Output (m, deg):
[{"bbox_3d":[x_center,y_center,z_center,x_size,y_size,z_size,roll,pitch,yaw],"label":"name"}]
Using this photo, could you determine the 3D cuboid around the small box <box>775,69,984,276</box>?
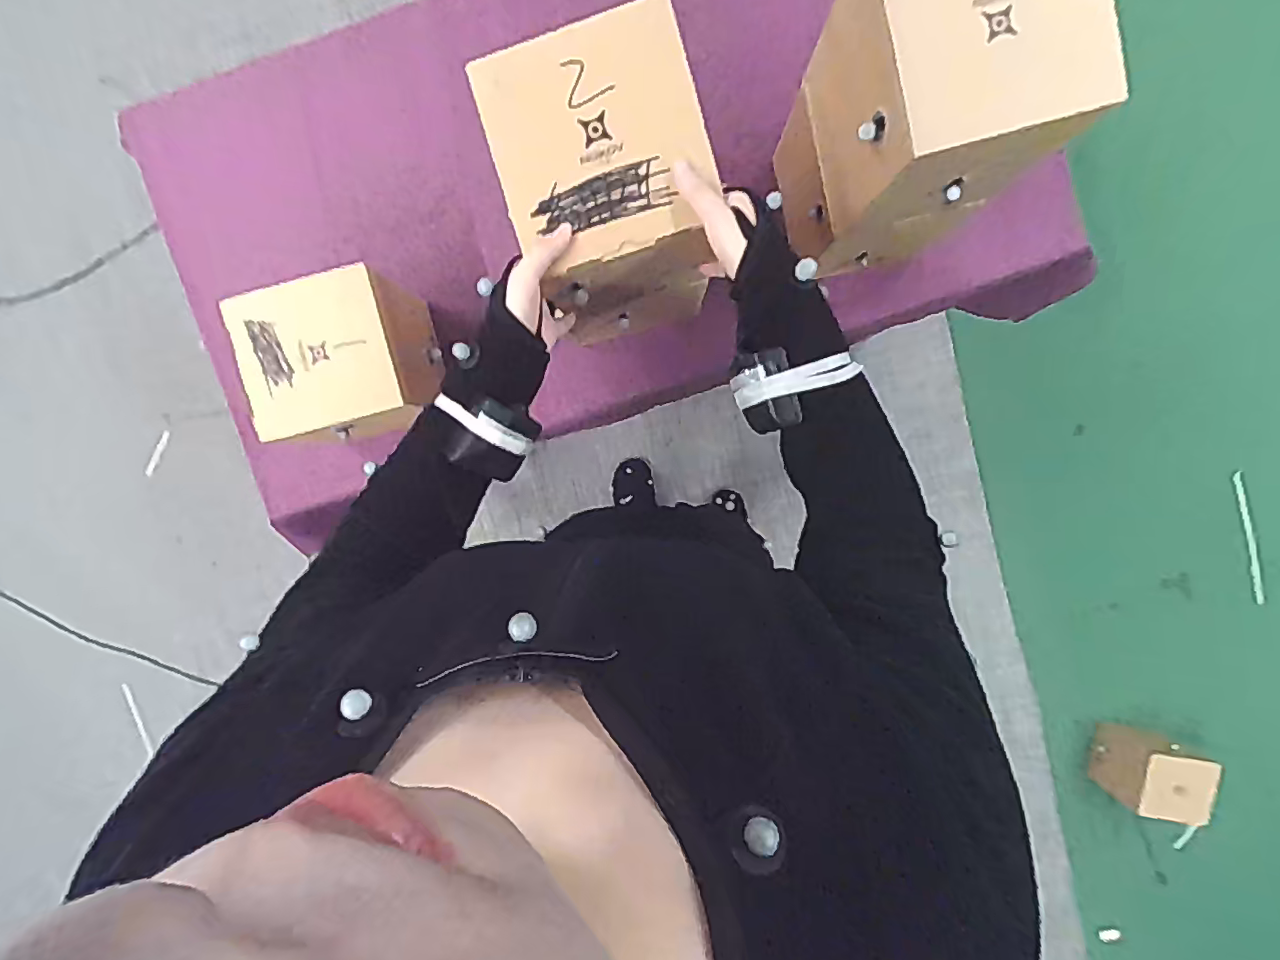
[{"bbox_3d":[0.274,-0.374,0.657,0.168,0.176,0.179,-12,94,2],"label":"small box"}]

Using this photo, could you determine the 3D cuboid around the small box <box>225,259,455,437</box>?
[{"bbox_3d":[-0.365,-0.153,0.689,0.179,0.176,0.168,-14,93,2],"label":"small box"}]

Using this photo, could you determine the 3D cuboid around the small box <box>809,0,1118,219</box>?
[{"bbox_3d":[0.271,-0.362,0.492,0.168,0.176,0.179,-14,94,2],"label":"small box"}]

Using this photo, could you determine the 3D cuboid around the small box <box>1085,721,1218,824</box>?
[{"bbox_3d":[1.346,0.767,1.434,0.179,0.176,0.168,10,94,1],"label":"small box"}]

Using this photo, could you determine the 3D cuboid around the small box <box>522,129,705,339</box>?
[{"bbox_3d":[-0.024,-0.286,0.671,0.179,0.176,0.168,-13,94,4],"label":"small box"}]
